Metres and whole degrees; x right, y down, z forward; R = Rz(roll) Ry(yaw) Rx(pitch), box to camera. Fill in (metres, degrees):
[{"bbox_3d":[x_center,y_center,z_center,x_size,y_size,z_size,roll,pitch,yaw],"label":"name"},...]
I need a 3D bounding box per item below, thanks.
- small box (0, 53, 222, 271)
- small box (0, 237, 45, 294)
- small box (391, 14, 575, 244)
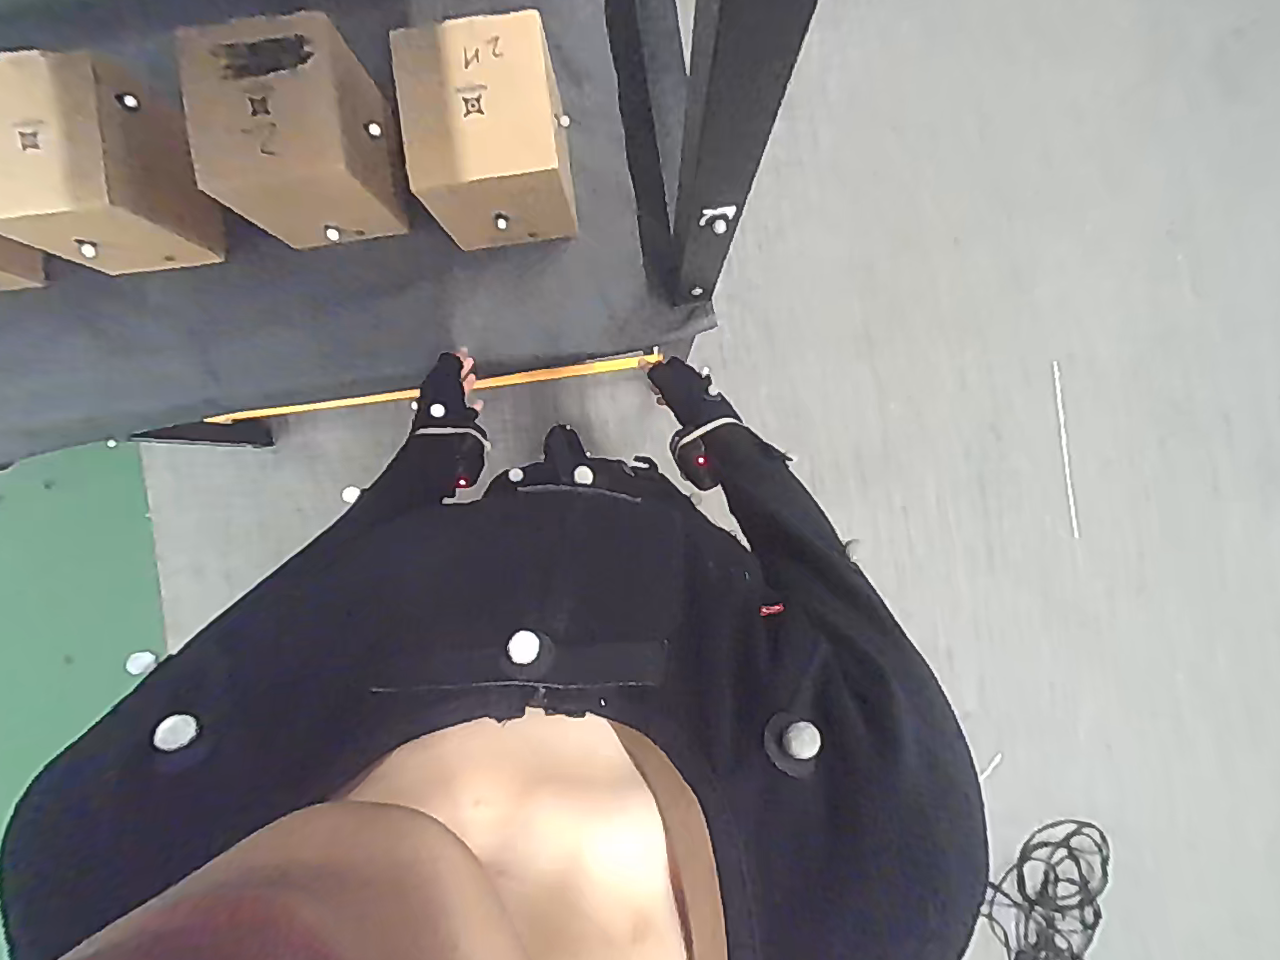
[{"bbox_3d":[-0.669,-0.377,0.677,0.168,0.176,0.179,-7,90,0],"label":"small box"},{"bbox_3d":[-0.920,-0.345,0.677,0.168,0.176,0.179,-6,91,1],"label":"small box"},{"bbox_3d":[-0.179,-0.412,0.669,0.168,0.176,0.179,-8,90,1],"label":"small box"}]
